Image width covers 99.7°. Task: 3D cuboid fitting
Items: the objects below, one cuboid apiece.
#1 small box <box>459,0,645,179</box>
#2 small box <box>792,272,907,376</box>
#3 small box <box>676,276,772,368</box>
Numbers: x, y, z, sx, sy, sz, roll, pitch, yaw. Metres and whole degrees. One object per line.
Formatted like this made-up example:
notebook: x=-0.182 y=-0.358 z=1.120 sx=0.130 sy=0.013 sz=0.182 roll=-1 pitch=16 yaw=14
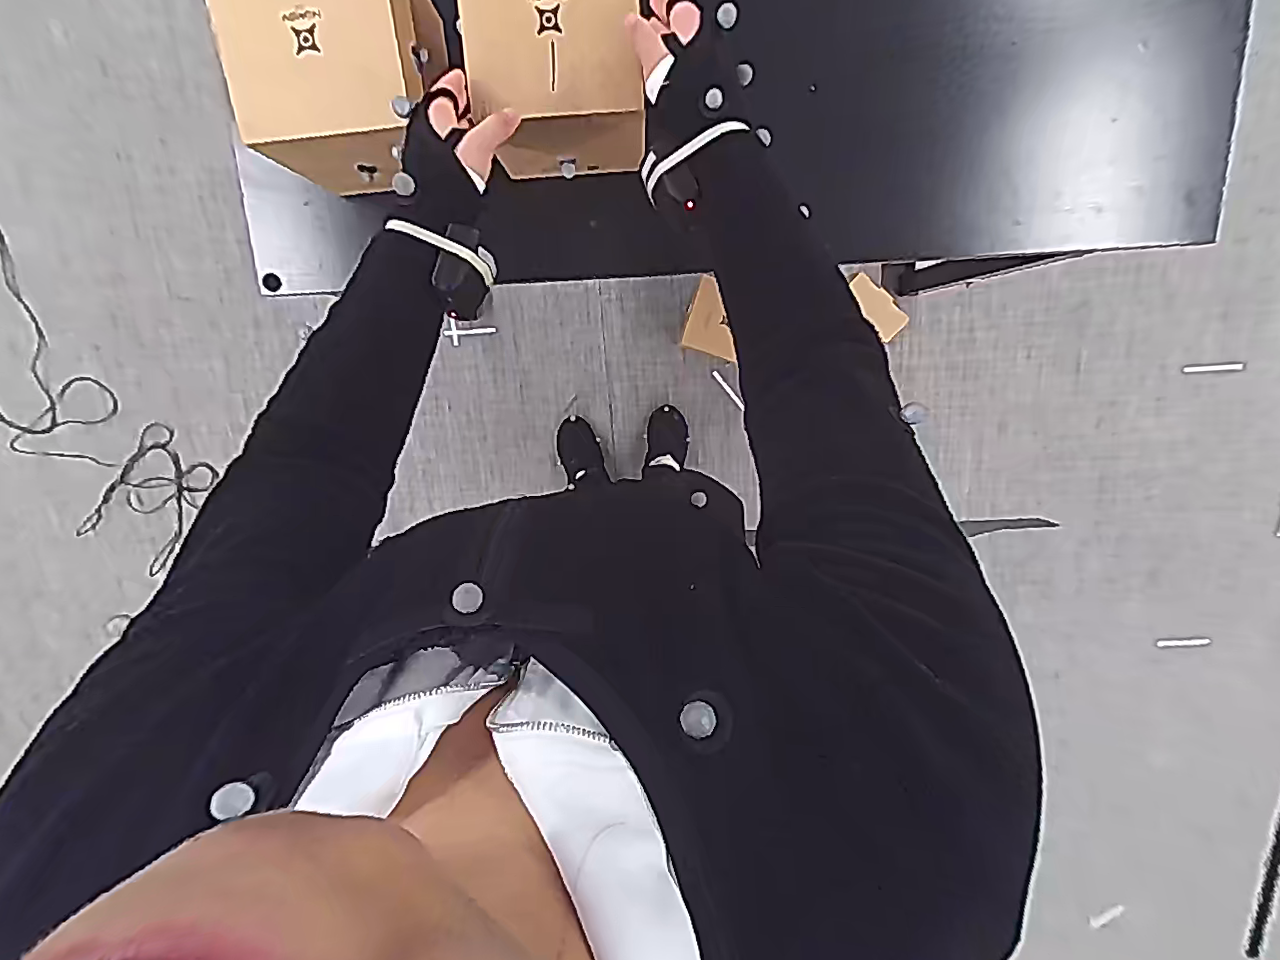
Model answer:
small box: x=-0.082 y=-0.441 z=0.567 sx=0.168 sy=0.176 sz=0.179 roll=-3 pitch=103 yaw=1
small box: x=0.501 y=-0.377 z=1.327 sx=0.168 sy=0.176 sz=0.179 roll=40 pitch=100 yaw=-8
small box: x=0.198 y=-0.383 z=1.329 sx=0.179 sy=0.176 sz=0.168 roll=17 pitch=101 yaw=-3
